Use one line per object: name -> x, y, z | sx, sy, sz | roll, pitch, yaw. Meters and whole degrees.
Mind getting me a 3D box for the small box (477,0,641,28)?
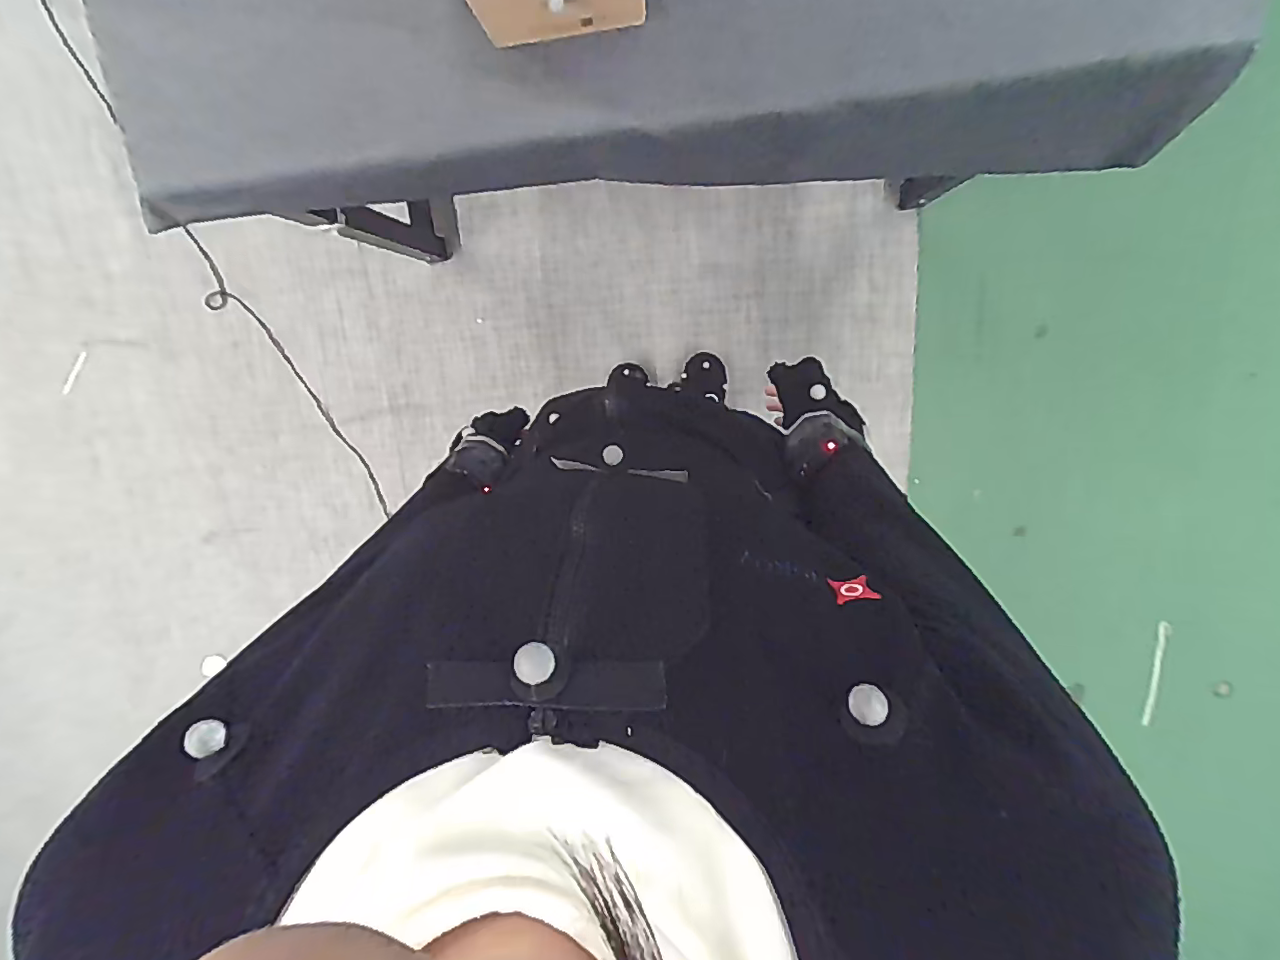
small box -> -0.090, -0.540, 0.474 | 0.168, 0.176, 0.179 | -5, 105, 5
